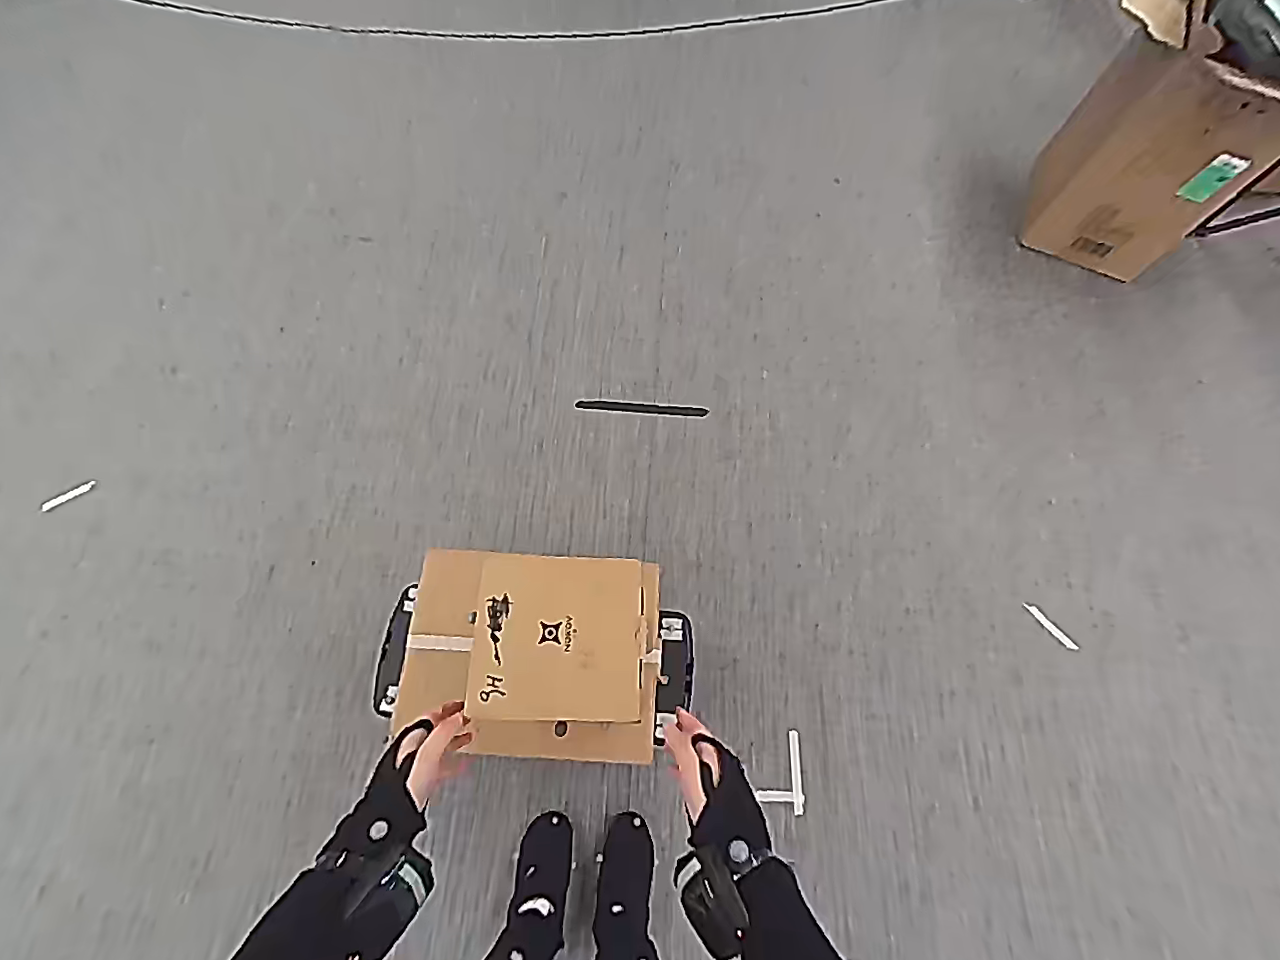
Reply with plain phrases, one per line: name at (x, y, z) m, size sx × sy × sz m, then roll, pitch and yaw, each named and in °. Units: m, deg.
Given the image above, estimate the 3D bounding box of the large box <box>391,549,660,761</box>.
large box at (-0.173, 0.326, 1.007) m, size 0.408 × 0.320 × 0.320 m, roll 4°, pitch 67°, yaw 0°

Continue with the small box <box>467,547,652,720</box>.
small box at (-0.083, 0.184, 0.626) m, size 0.179 × 0.176 × 0.168 m, roll 3°, pitch 66°, yaw -3°
